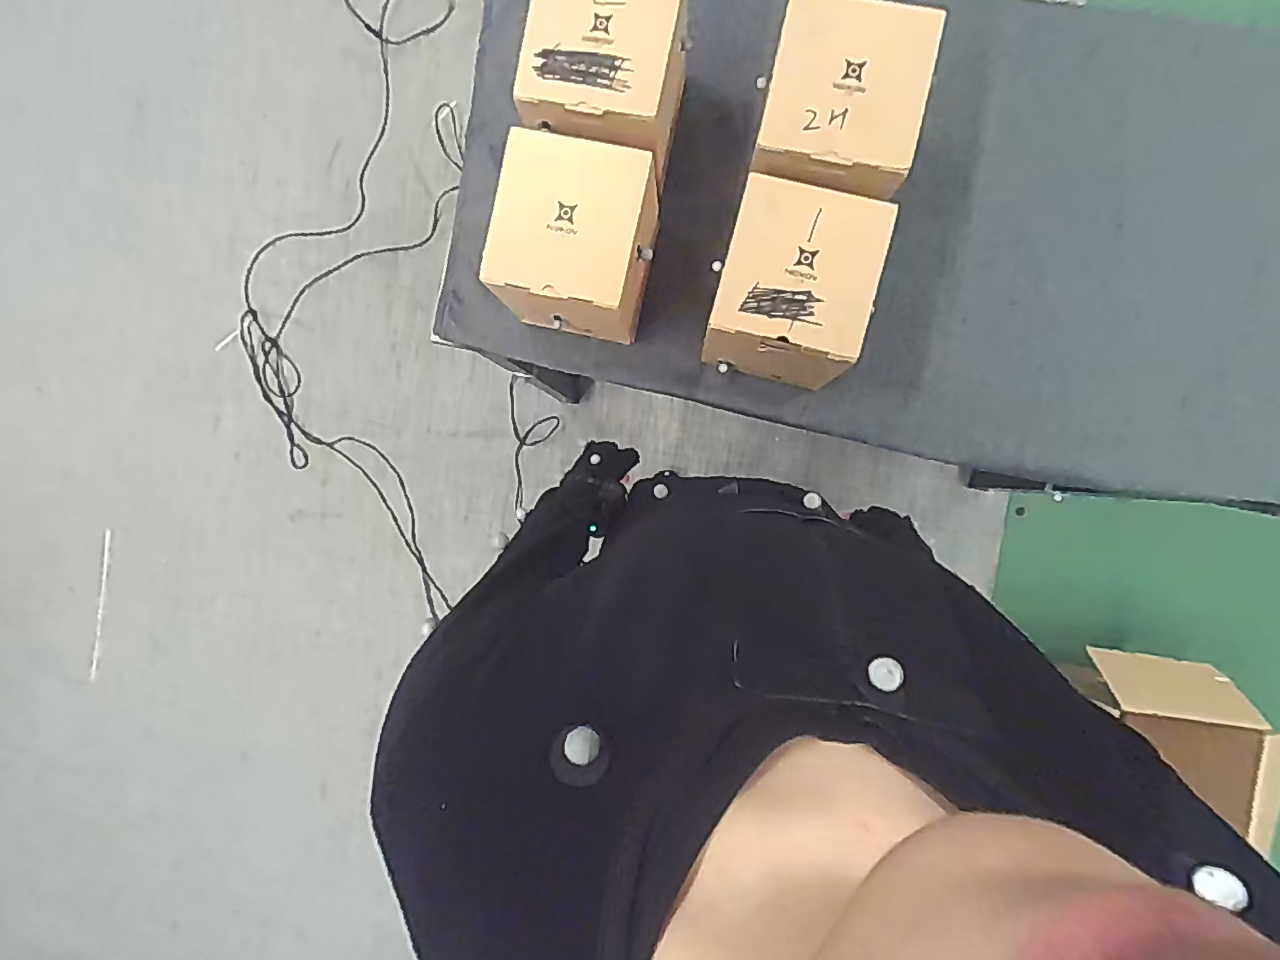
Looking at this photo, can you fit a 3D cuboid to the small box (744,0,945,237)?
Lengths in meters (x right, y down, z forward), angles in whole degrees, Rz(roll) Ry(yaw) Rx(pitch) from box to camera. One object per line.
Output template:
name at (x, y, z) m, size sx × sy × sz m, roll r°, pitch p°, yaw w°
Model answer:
small box at (0.230, -0.429, 0.656) m, size 0.168 × 0.176 × 0.179 m, roll 13°, pitch 91°, yaw 4°
